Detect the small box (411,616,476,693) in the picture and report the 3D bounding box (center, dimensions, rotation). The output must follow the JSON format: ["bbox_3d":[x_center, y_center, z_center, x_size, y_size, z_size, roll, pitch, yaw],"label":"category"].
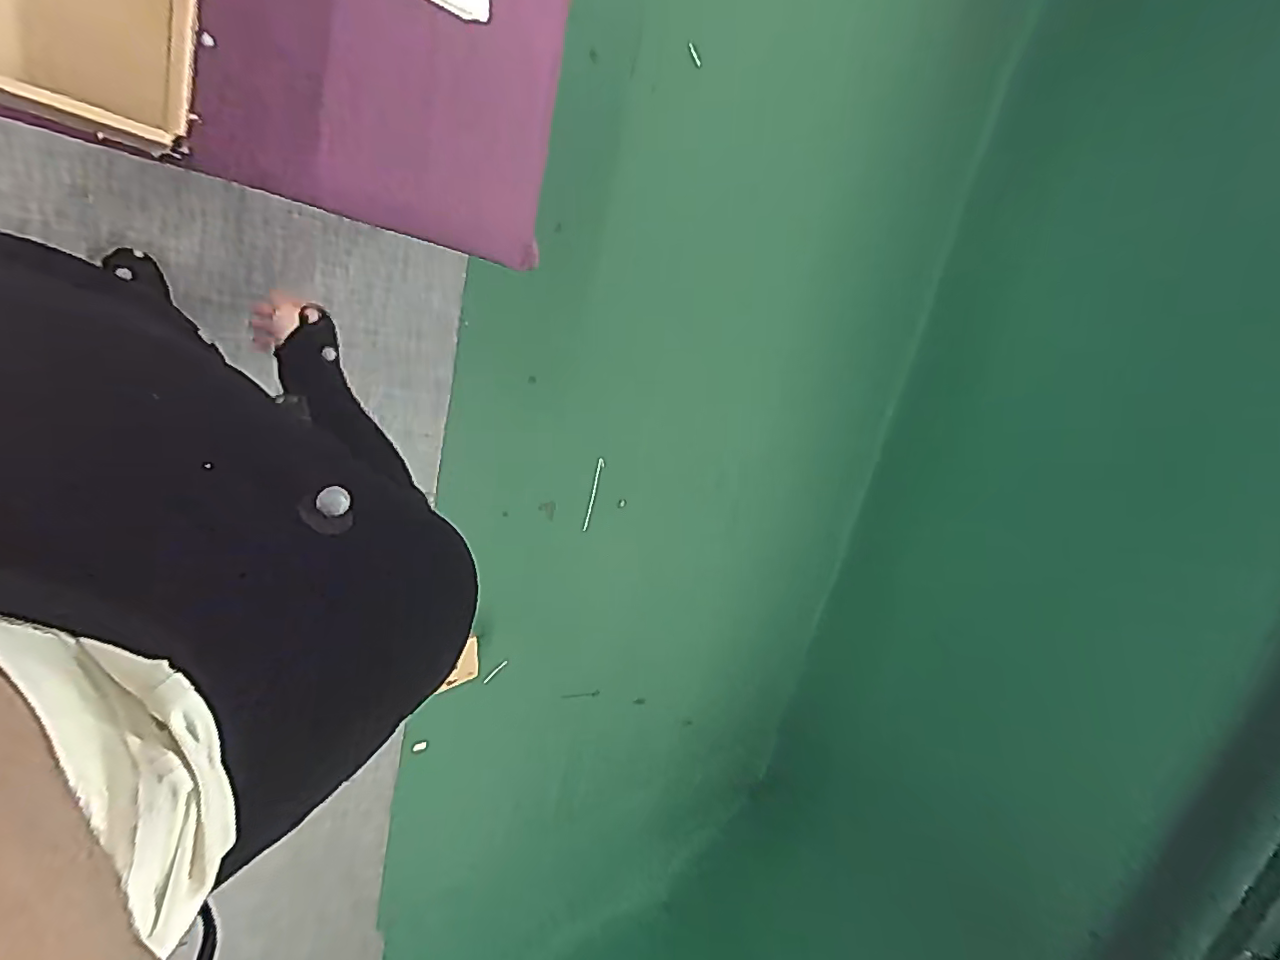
[{"bbox_3d":[-0.692,0.603,1.900,0.168,0.176,0.179,-14,118,-39],"label":"small box"}]
